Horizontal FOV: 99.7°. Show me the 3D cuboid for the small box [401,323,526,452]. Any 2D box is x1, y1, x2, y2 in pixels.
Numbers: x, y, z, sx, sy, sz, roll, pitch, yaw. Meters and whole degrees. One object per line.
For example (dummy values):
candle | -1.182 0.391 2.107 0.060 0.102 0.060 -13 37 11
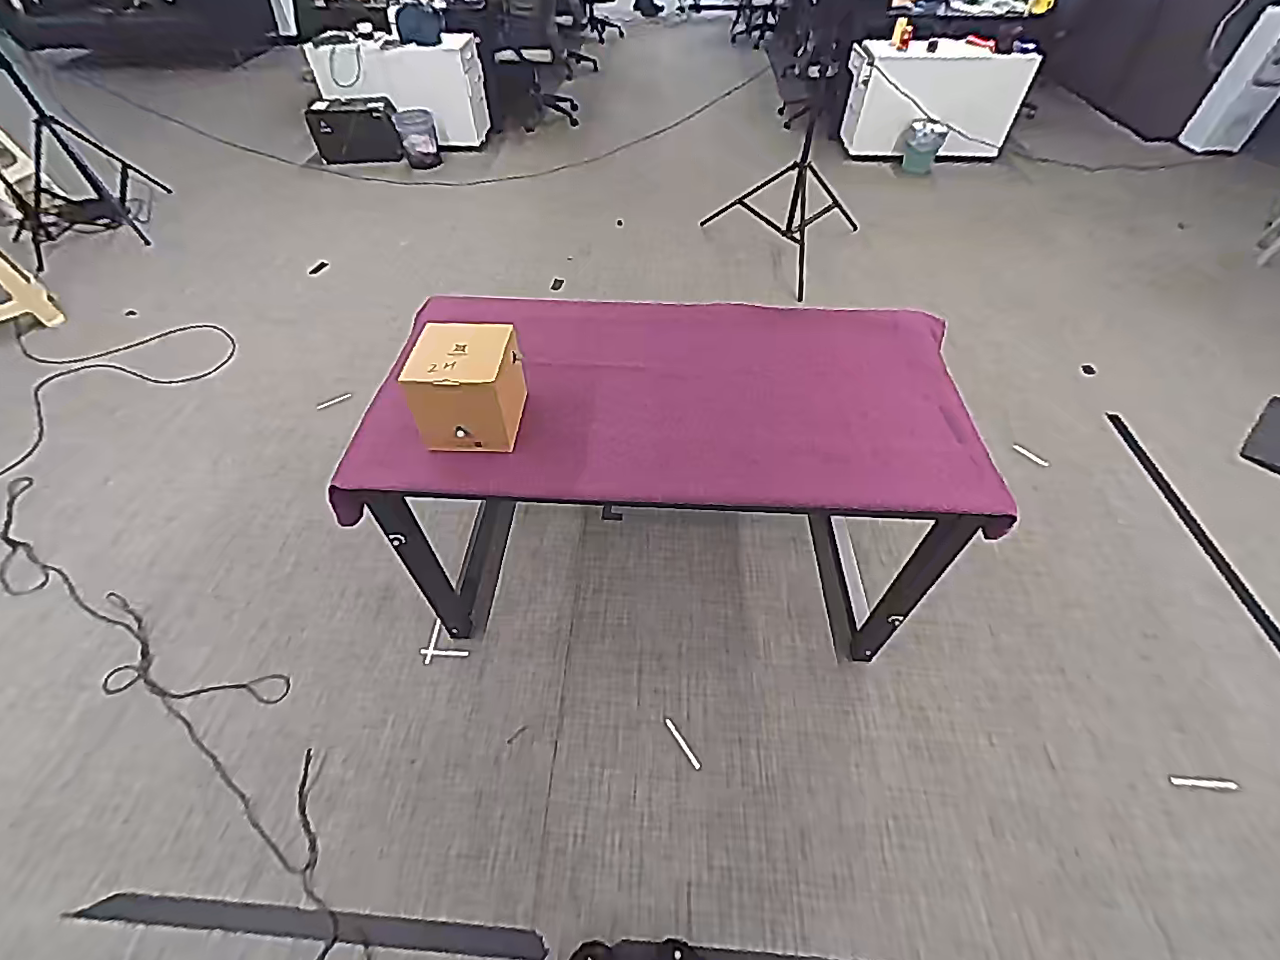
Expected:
small box | -0.316 -0.173 1.016 0.168 0.176 0.179 1 49 2
